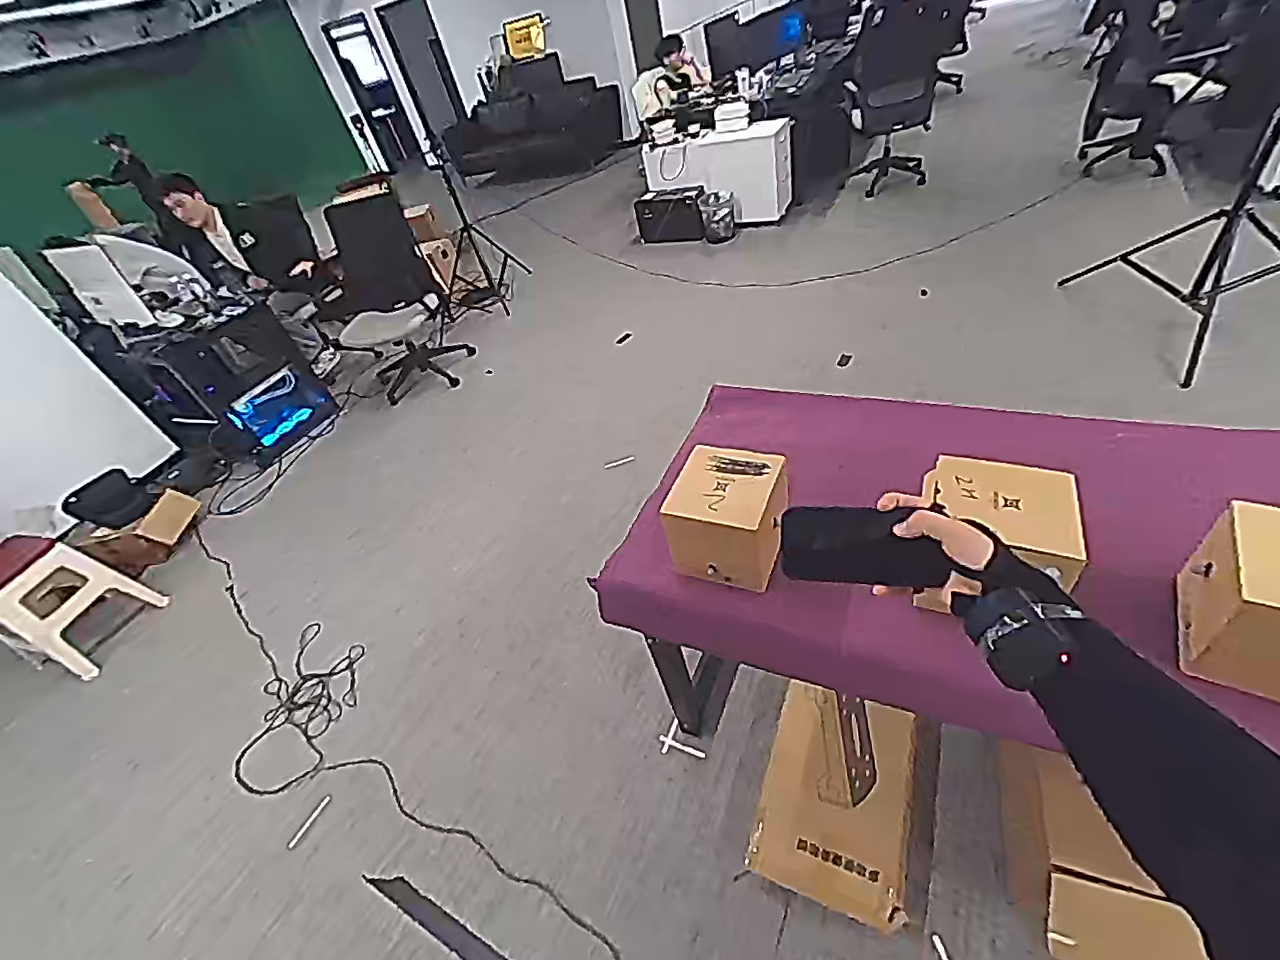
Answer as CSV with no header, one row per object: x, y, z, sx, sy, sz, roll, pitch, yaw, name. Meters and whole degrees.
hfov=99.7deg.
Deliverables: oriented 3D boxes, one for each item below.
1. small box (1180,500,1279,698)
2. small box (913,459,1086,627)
0.790,0.154,0.646,0.179,0.176,0.168,15,50,30,small box
0.518,0.093,0.799,0.179,0.176,0.168,9,45,26,small box
